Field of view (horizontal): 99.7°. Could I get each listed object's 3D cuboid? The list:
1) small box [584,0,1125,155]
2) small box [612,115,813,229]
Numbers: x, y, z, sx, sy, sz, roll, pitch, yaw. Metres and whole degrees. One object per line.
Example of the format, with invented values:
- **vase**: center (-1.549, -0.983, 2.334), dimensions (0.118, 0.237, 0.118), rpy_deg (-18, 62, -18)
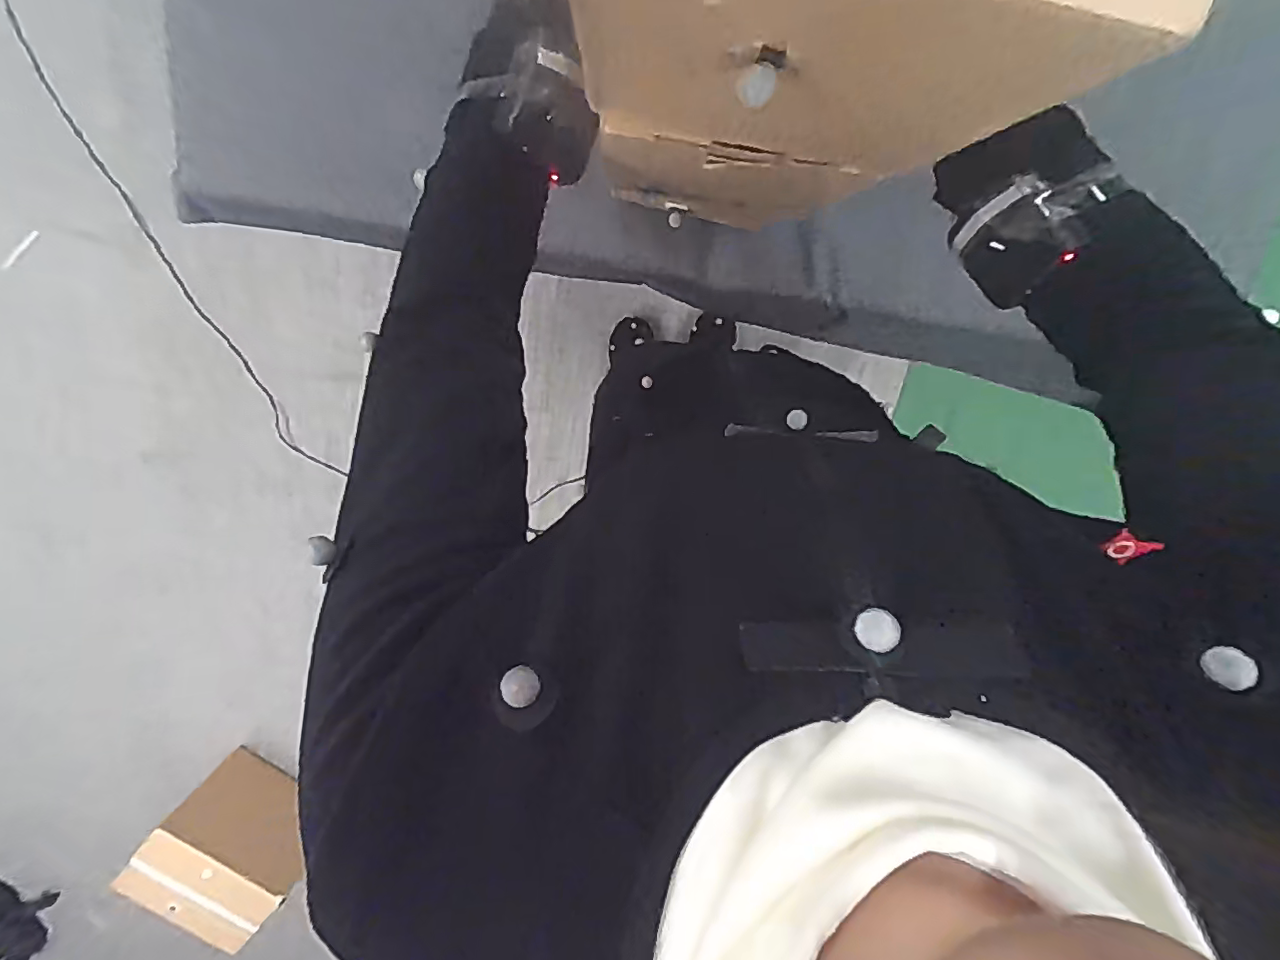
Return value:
- **small box**: center (0.071, -0.242, 0.199), dimensions (0.179, 0.176, 0.168), rpy_deg (6, 106, -3)
- **small box**: center (0.071, -0.351, 0.505), dimensions (0.168, 0.176, 0.179), rpy_deg (10, 109, -3)
